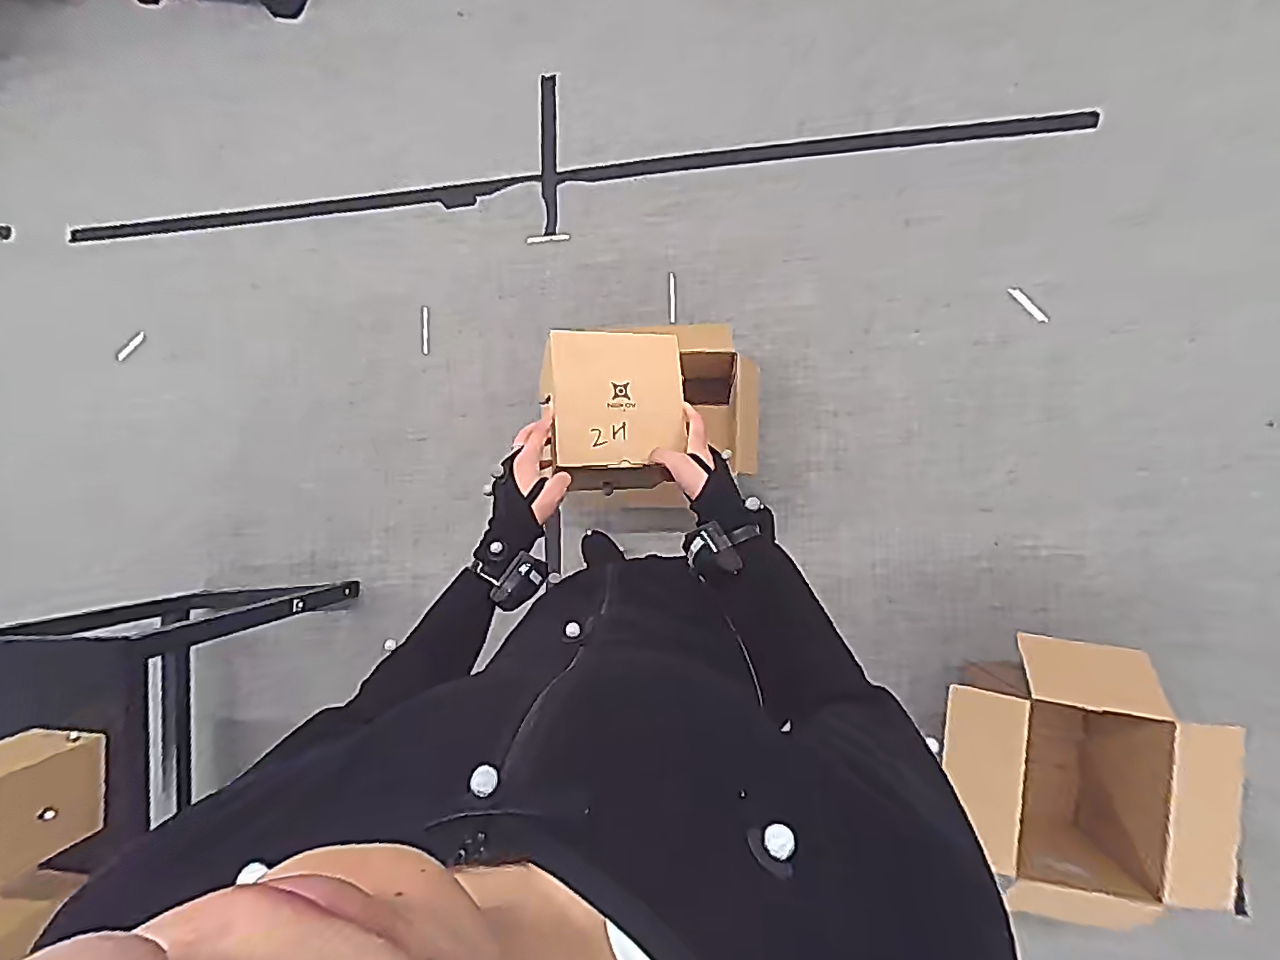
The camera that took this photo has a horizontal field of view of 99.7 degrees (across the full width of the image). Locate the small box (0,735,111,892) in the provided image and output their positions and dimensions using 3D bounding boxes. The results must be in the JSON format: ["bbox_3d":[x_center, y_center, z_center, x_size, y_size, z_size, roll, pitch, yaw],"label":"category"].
[{"bbox_3d":[-1.079,0.567,0.943,0.168,0.176,0.179,-1,89,8],"label":"small box"}]

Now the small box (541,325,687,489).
[{"bbox_3d":[-0.044,-0.089,0.733,0.168,0.176,0.179,-1,80,-14],"label":"small box"}]
